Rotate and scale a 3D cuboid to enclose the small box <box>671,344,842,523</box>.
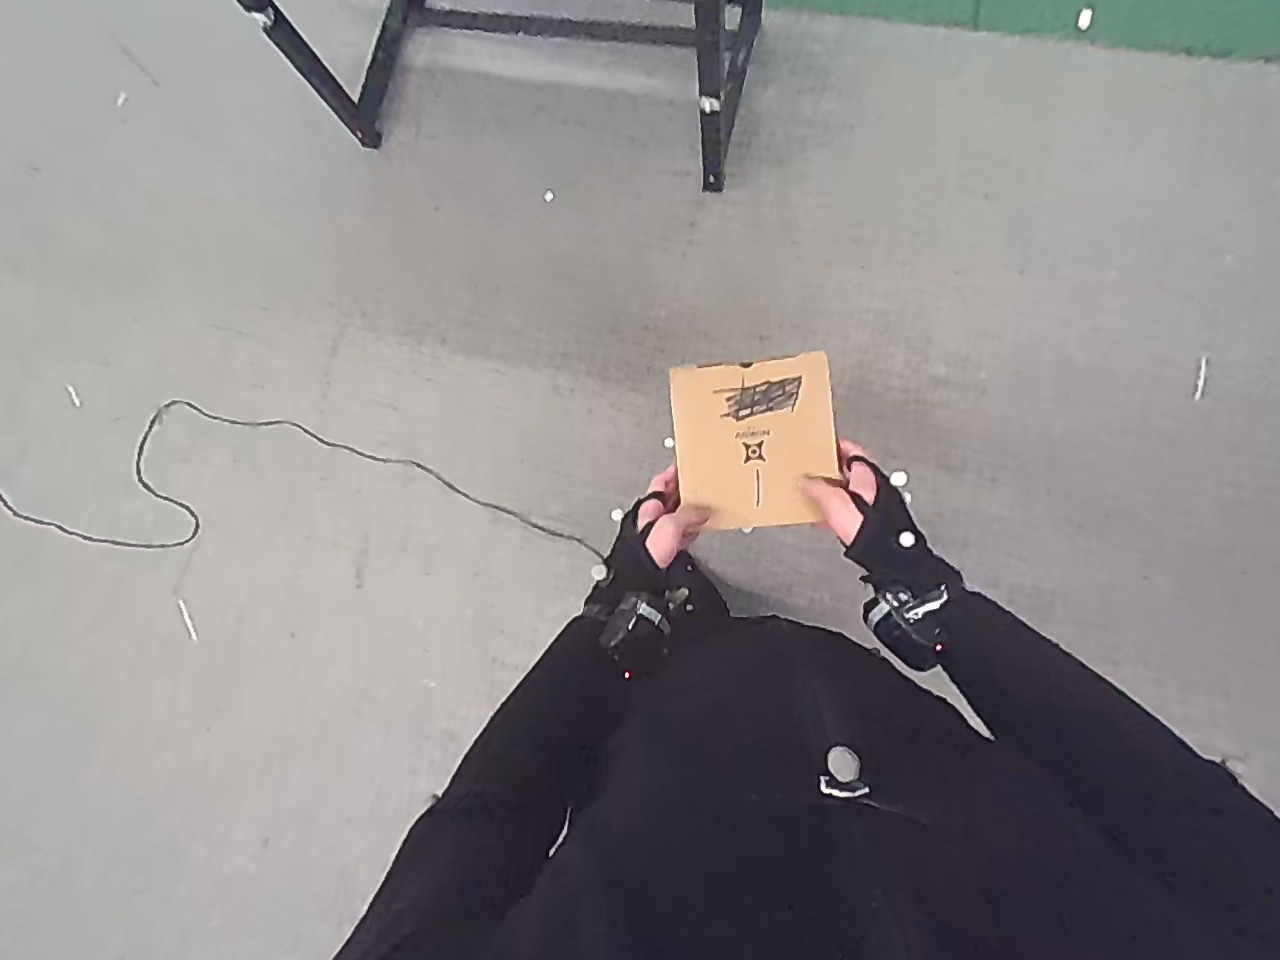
[{"bbox_3d":[0.124,-0.046,0.630,0.168,0.176,0.179,-5,90,6],"label":"small box"}]
